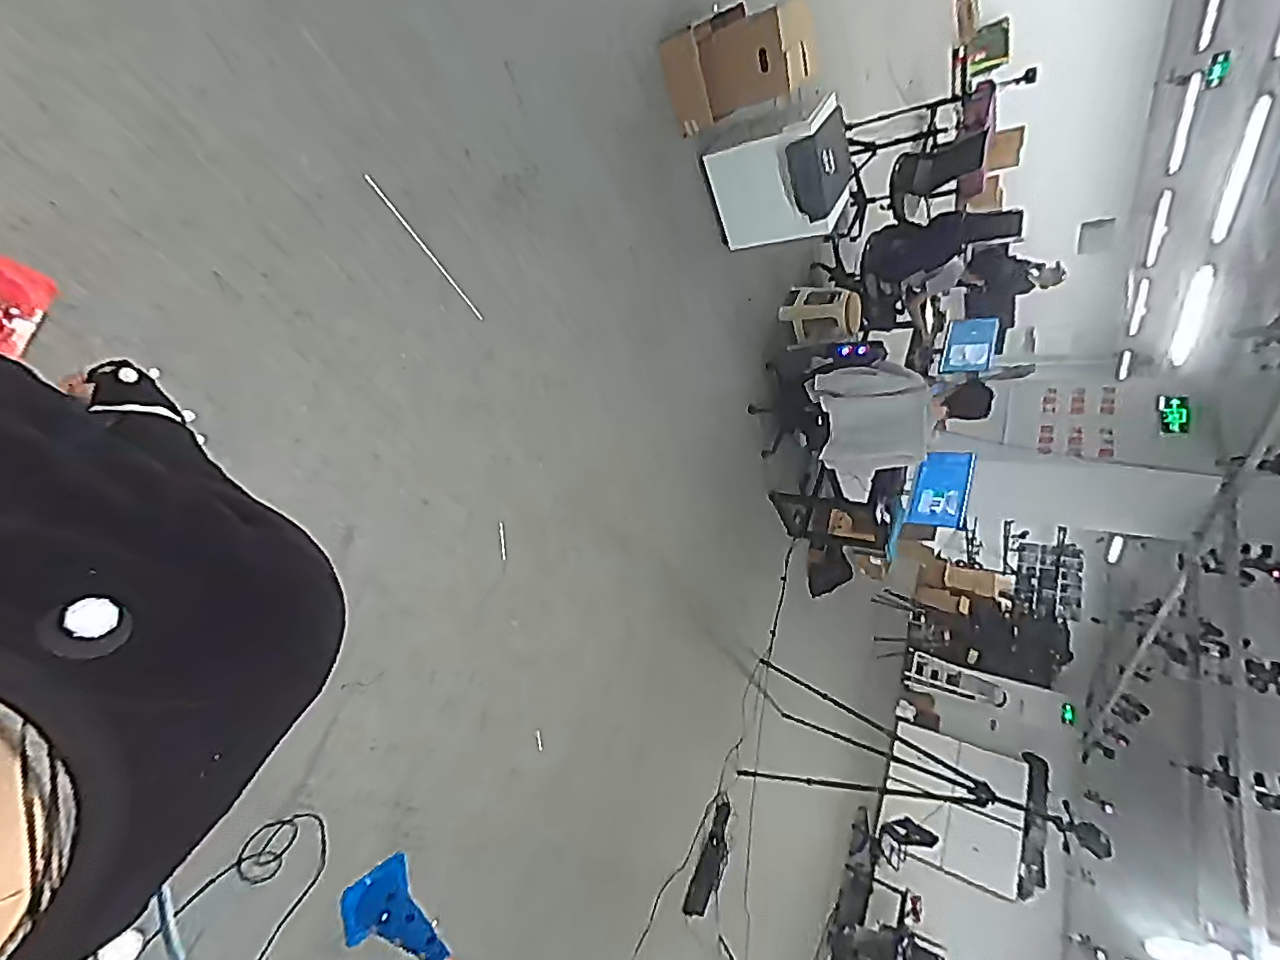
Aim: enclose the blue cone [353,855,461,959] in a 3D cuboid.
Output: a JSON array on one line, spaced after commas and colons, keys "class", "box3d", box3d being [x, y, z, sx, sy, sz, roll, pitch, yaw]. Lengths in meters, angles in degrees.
[{"class": "blue cone", "box3d": [-0.661, 1.311, 1.595, 0.193, 0.380, 0.192, -18, 108, -54]}]
